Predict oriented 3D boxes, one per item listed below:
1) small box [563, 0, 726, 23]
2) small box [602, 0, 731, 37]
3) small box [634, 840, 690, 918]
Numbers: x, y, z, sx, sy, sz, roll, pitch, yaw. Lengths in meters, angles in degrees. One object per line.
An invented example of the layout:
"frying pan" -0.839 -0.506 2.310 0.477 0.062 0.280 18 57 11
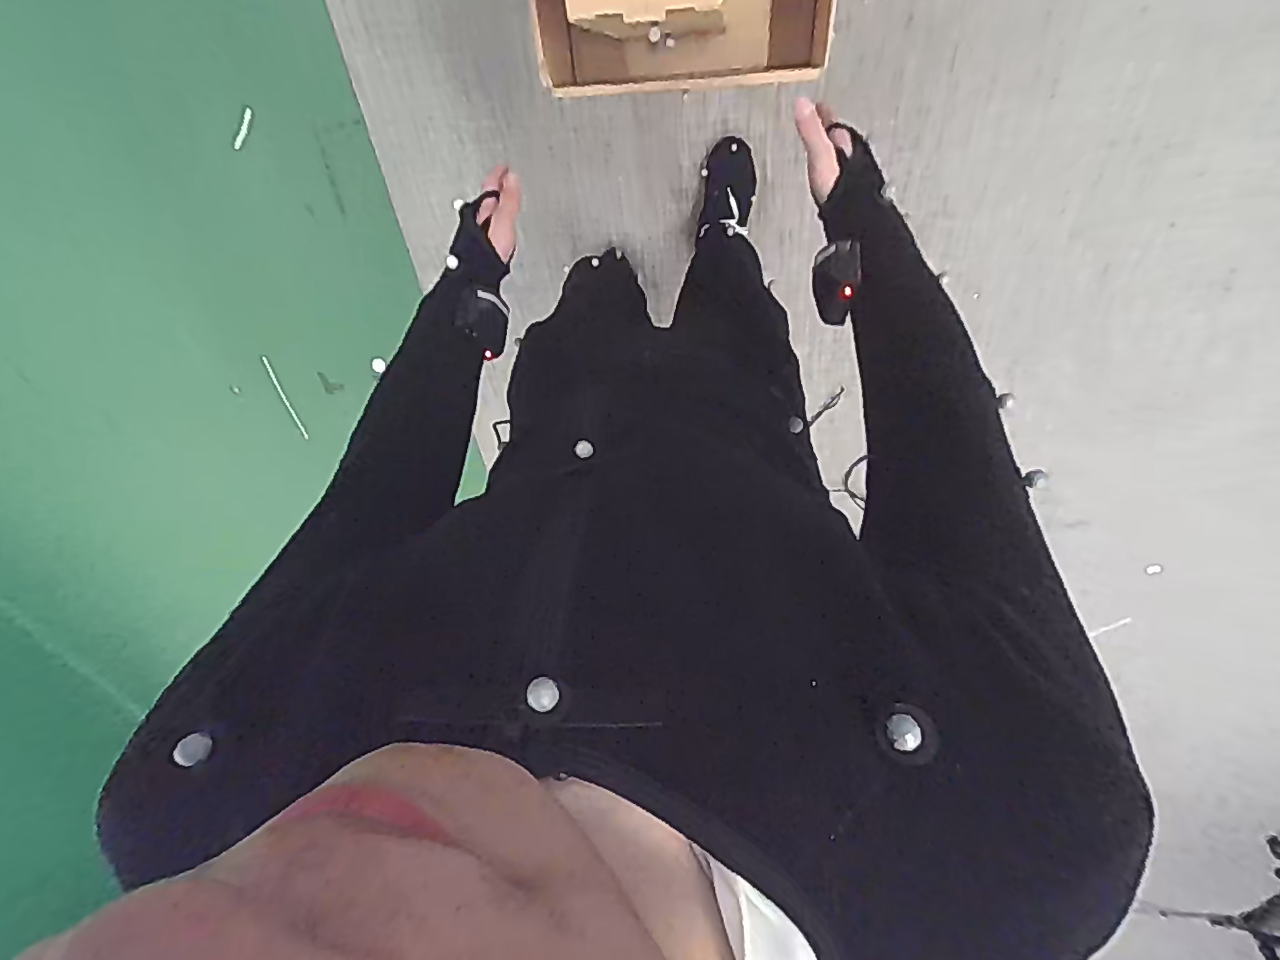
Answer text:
"small box" 0.010 -0.596 0.564 0.168 0.176 0.179 3 127 9
"small box" 0.036 -0.692 0.692 0.168 0.176 0.179 3 126 9
"small box" 0.082 1.379 1.875 0.168 0.176 0.179 -1 127 12
